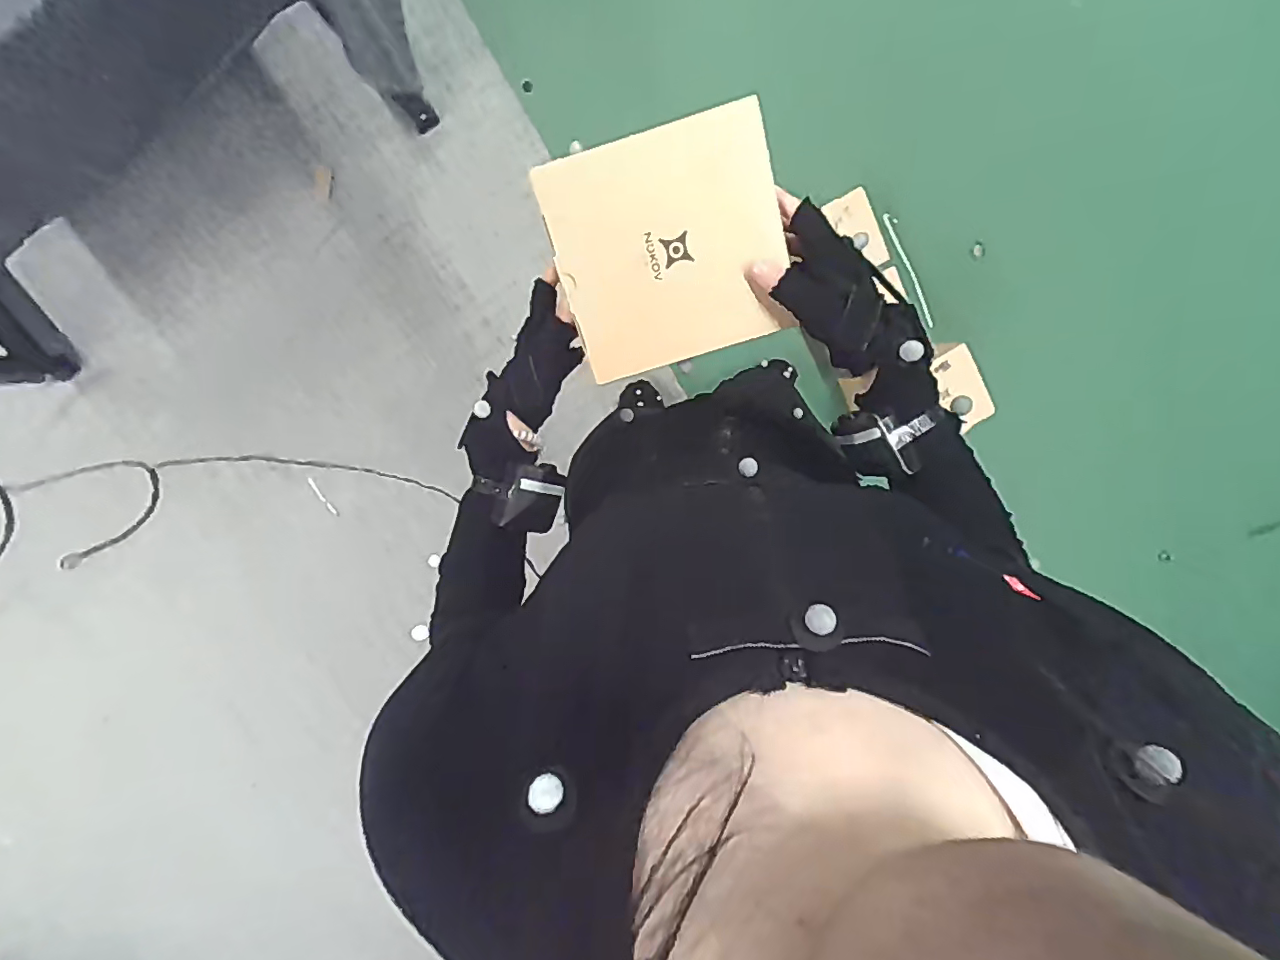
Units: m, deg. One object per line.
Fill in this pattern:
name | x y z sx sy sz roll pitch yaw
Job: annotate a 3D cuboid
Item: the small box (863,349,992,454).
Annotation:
small box | 0.646 -0.185 1.232 0.168 0.176 0.179 -30 103 4
